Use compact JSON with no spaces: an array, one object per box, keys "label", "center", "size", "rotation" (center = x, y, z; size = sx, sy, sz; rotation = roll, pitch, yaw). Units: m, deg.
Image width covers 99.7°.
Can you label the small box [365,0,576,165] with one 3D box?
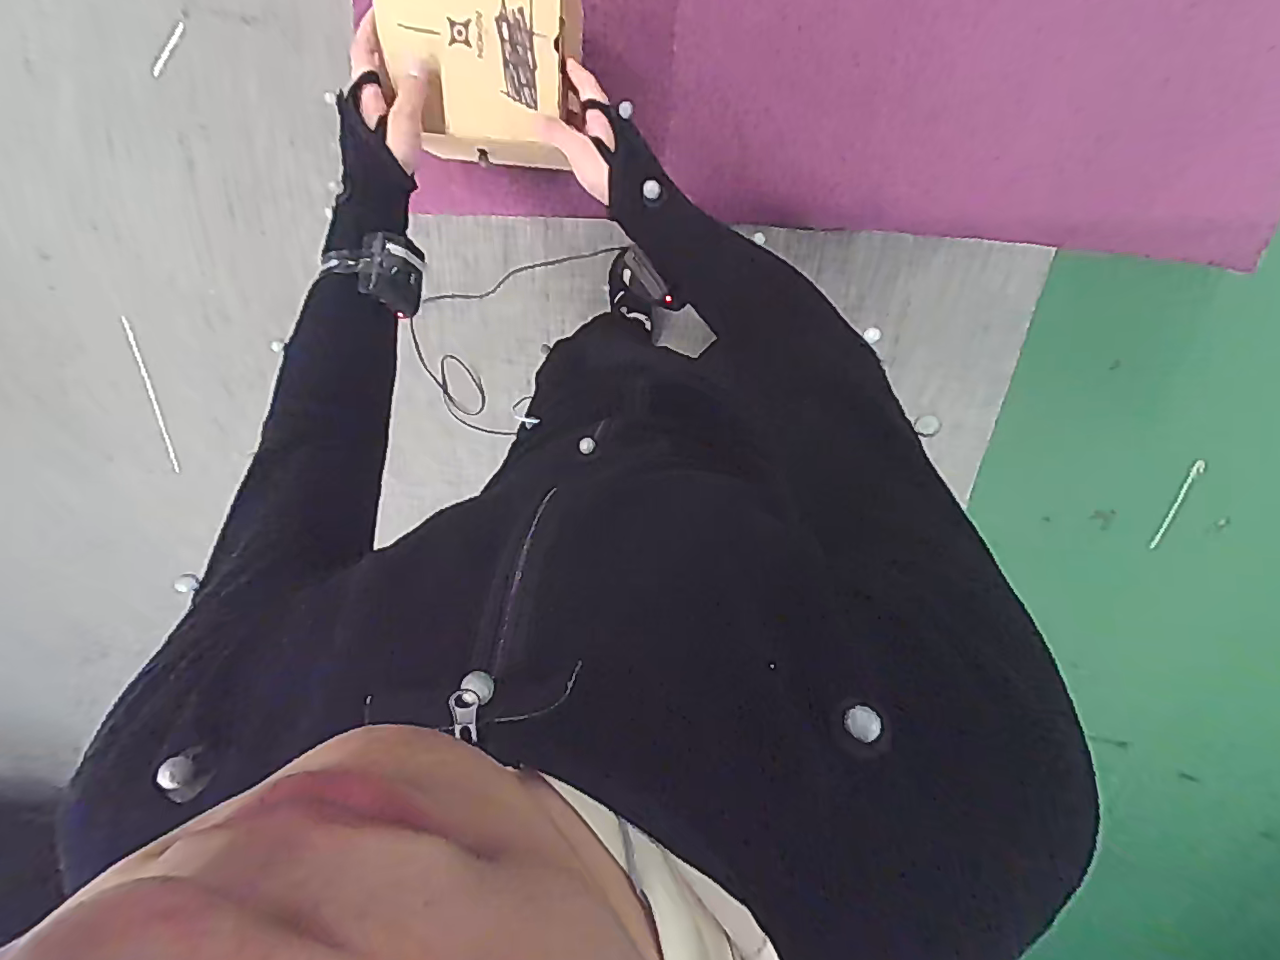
[{"label":"small box","center":[-0.163,-0.441,0.568],"size":[0.179,0.176,0.168],"rotation":[5,113,-2]}]
